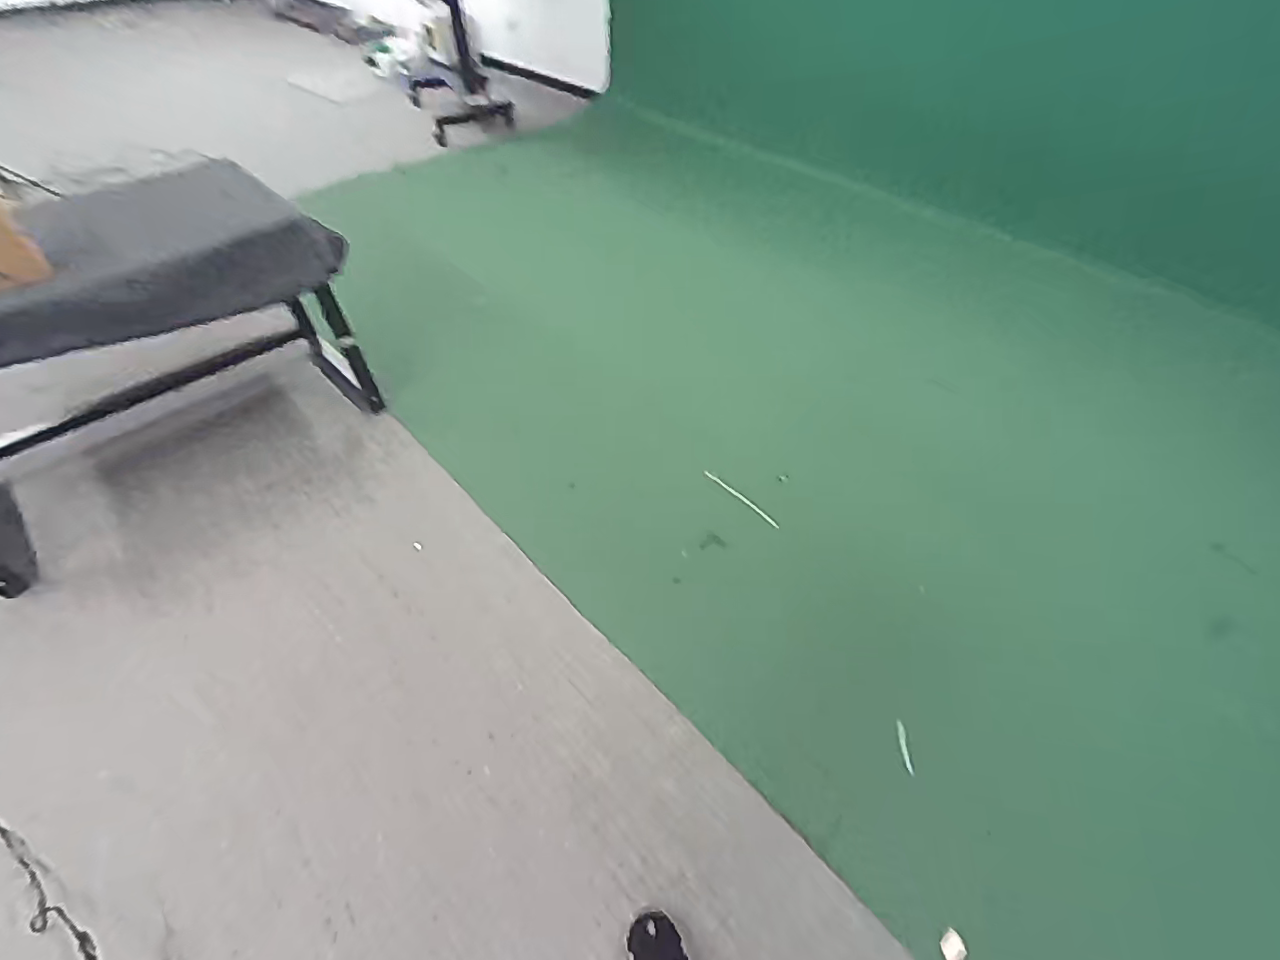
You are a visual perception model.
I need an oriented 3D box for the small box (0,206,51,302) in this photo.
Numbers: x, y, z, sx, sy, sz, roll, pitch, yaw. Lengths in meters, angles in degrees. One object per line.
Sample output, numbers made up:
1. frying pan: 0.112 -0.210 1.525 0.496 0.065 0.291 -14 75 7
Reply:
1. small box: -1.532 -0.523 1.254 0.179 0.176 0.168 -35 57 -27
